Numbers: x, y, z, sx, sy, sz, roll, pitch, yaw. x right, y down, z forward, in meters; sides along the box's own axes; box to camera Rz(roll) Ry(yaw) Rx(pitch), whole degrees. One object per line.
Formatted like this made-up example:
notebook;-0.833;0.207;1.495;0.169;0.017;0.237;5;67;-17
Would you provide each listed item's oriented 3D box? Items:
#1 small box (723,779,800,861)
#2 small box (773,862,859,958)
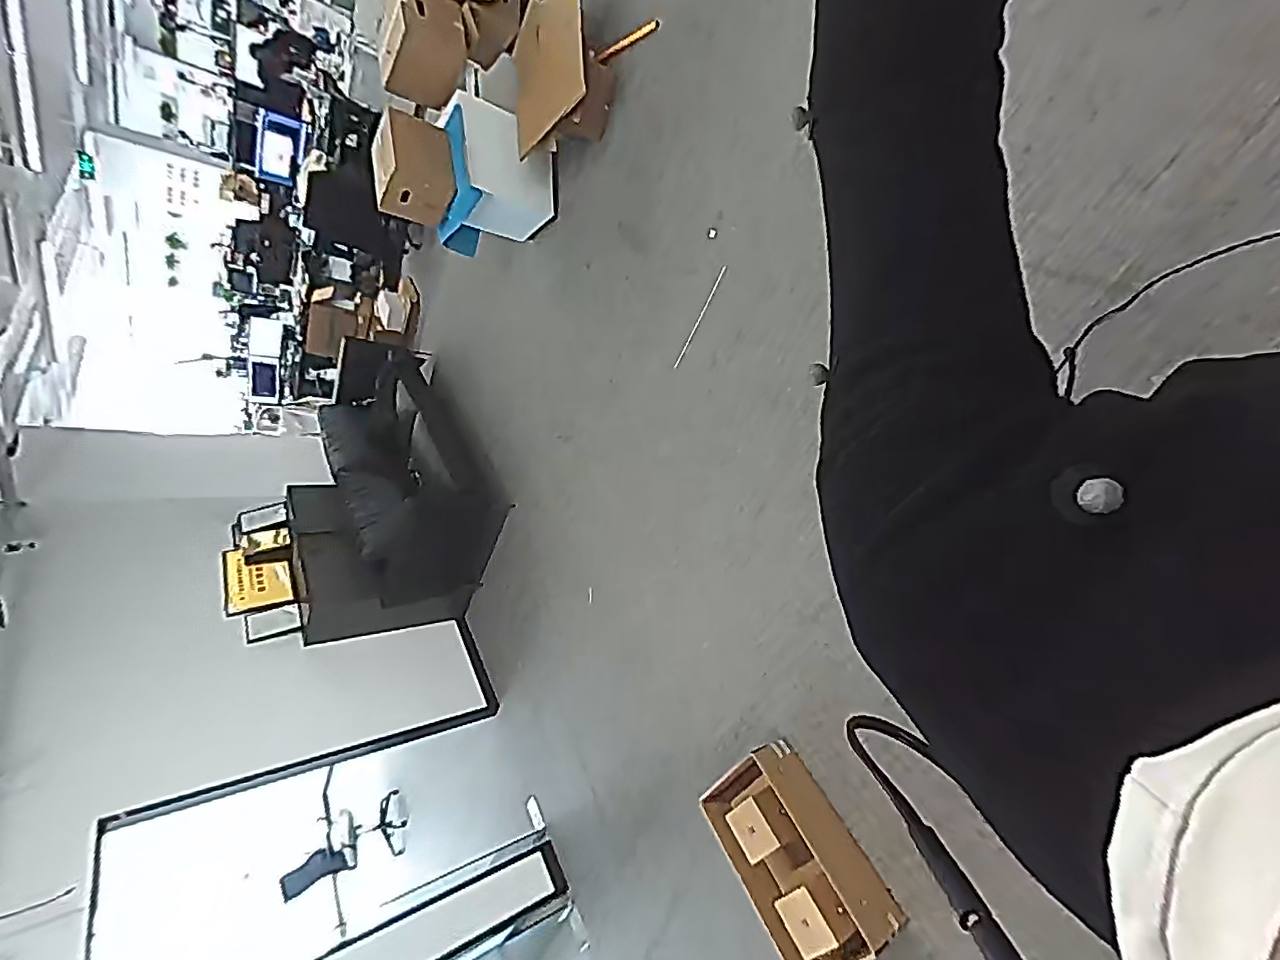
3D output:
small box;0.434;1.186;1.897;0.168;0.176;0.179;55;129;33
small box;0.570;1.374;1.737;0.168;0.176;0.179;55;130;35
